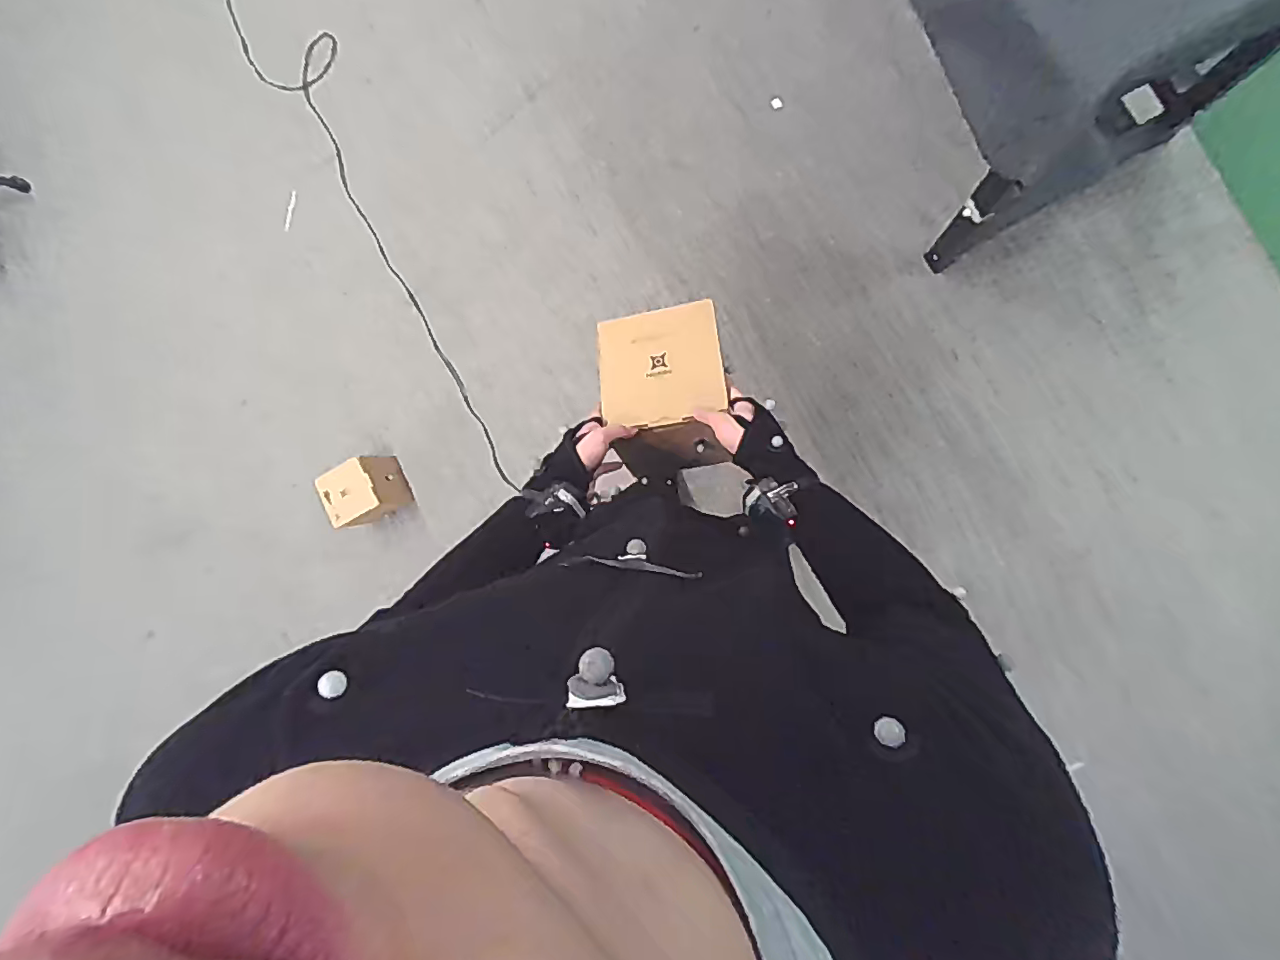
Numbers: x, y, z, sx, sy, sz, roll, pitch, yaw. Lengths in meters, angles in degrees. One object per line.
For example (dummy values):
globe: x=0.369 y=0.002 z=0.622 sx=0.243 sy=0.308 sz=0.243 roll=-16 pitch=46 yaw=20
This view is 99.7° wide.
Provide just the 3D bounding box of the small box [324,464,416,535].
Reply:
small box: x=-0.836 y=0.055 z=1.698 sx=0.179 sy=0.176 sz=0.168 roll=-26 pitch=85 yaw=12

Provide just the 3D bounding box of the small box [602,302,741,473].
small box: x=0.050 y=-0.121 z=0.788 sx=0.168 sy=0.176 sz=0.179 roll=-10 pitch=65 yaw=10
